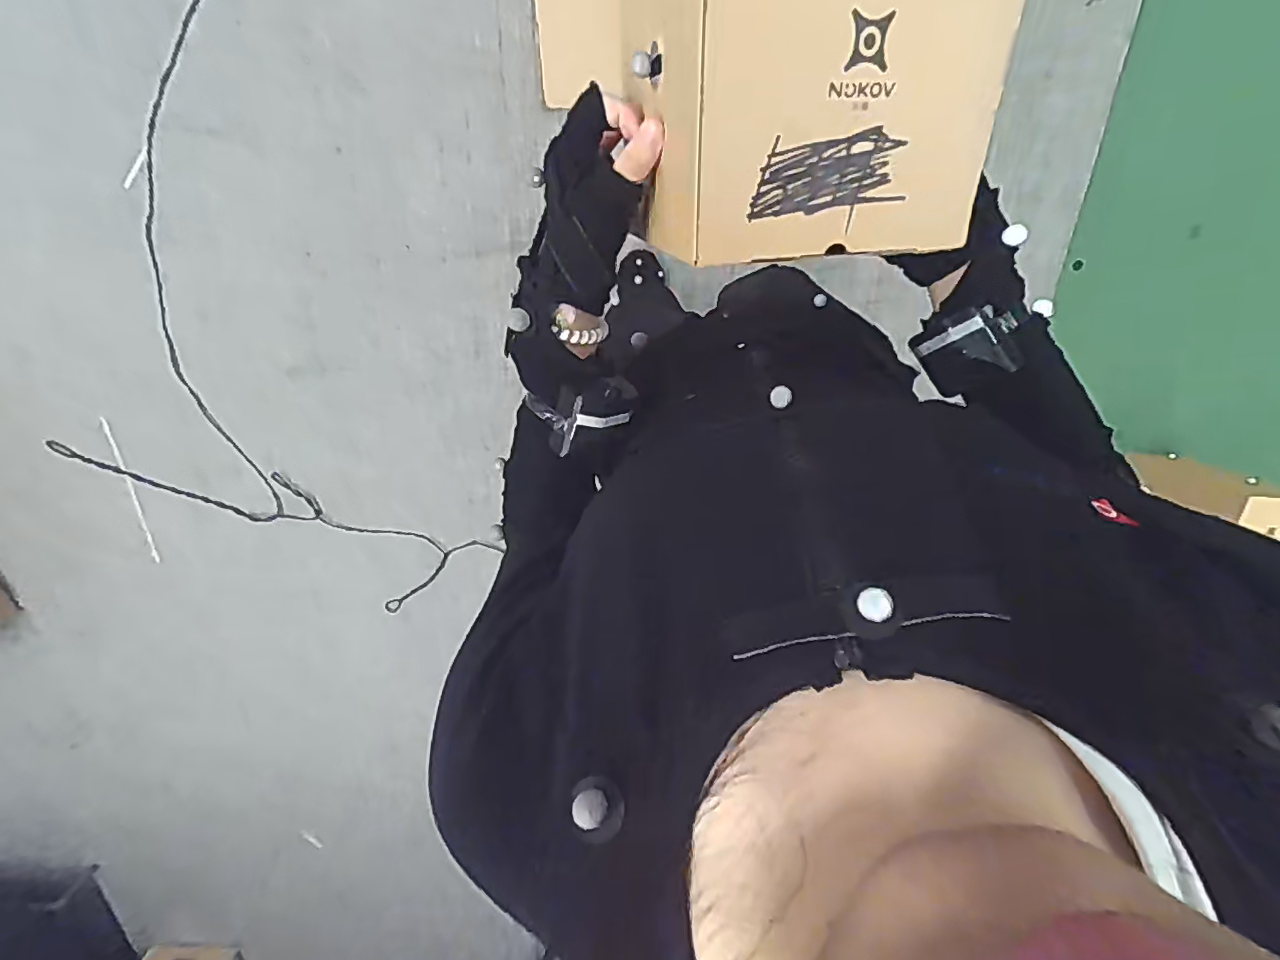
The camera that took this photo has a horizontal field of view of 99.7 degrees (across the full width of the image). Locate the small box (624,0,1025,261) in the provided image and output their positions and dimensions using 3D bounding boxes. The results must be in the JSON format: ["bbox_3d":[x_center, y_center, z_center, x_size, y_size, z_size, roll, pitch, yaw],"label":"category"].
[{"bbox_3d":[0.087,-0.242,0.325,0.168,0.176,0.179,-8,122,-11],"label":"small box"}]

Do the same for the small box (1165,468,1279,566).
[{"bbox_3d":[1.401,0.081,1.264,0.168,0.176,0.179,4,112,1],"label":"small box"}]
